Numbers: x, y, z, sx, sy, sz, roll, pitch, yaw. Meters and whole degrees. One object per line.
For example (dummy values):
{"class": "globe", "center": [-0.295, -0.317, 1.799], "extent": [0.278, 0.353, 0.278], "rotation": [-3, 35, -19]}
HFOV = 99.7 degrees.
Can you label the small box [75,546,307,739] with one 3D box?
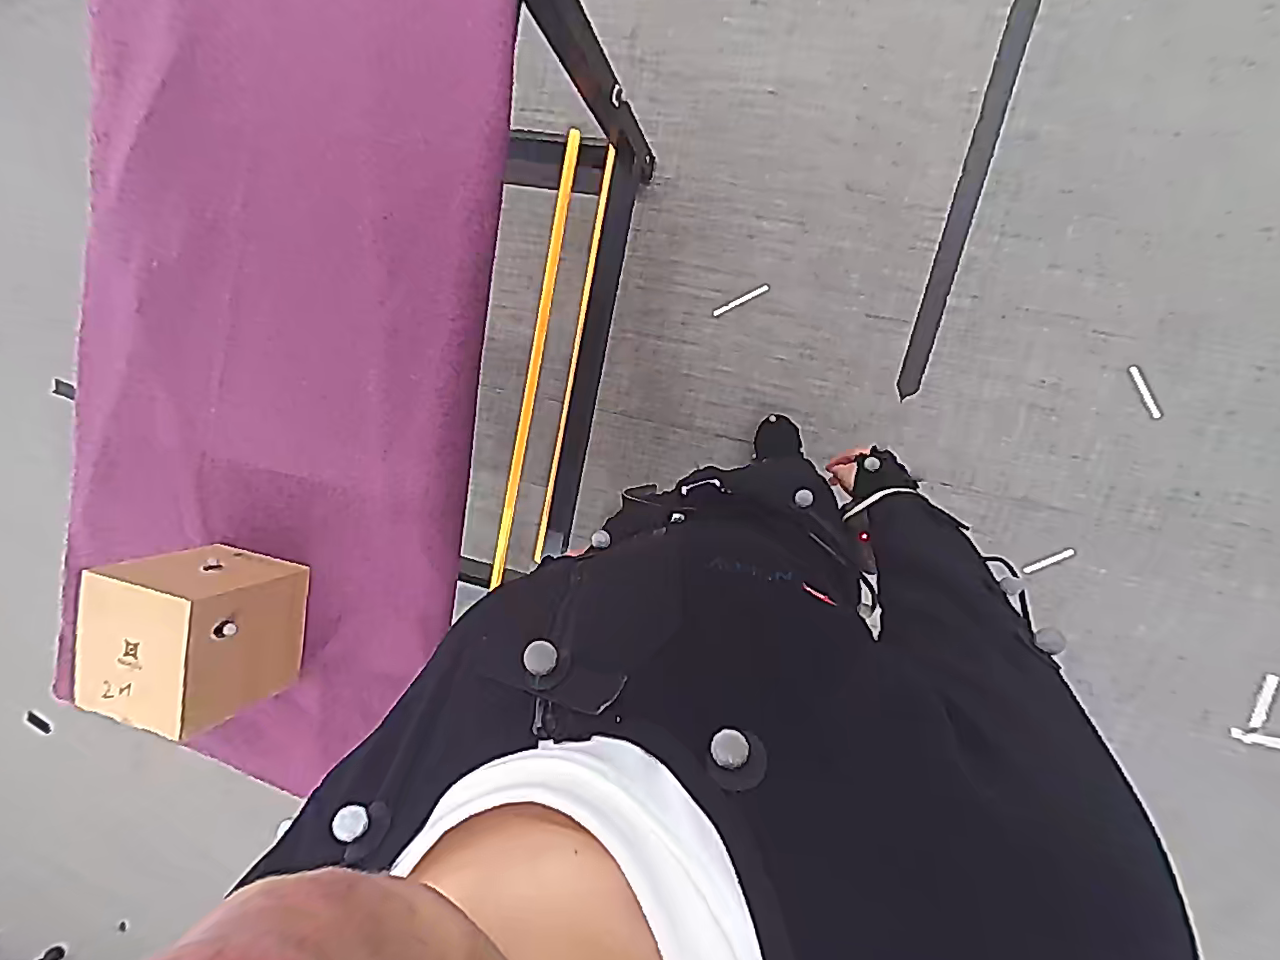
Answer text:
{"class": "small box", "center": [-0.574, 0.195, 0.709], "extent": [0.168, 0.176, 0.179], "rotation": [11, 97, 12]}
